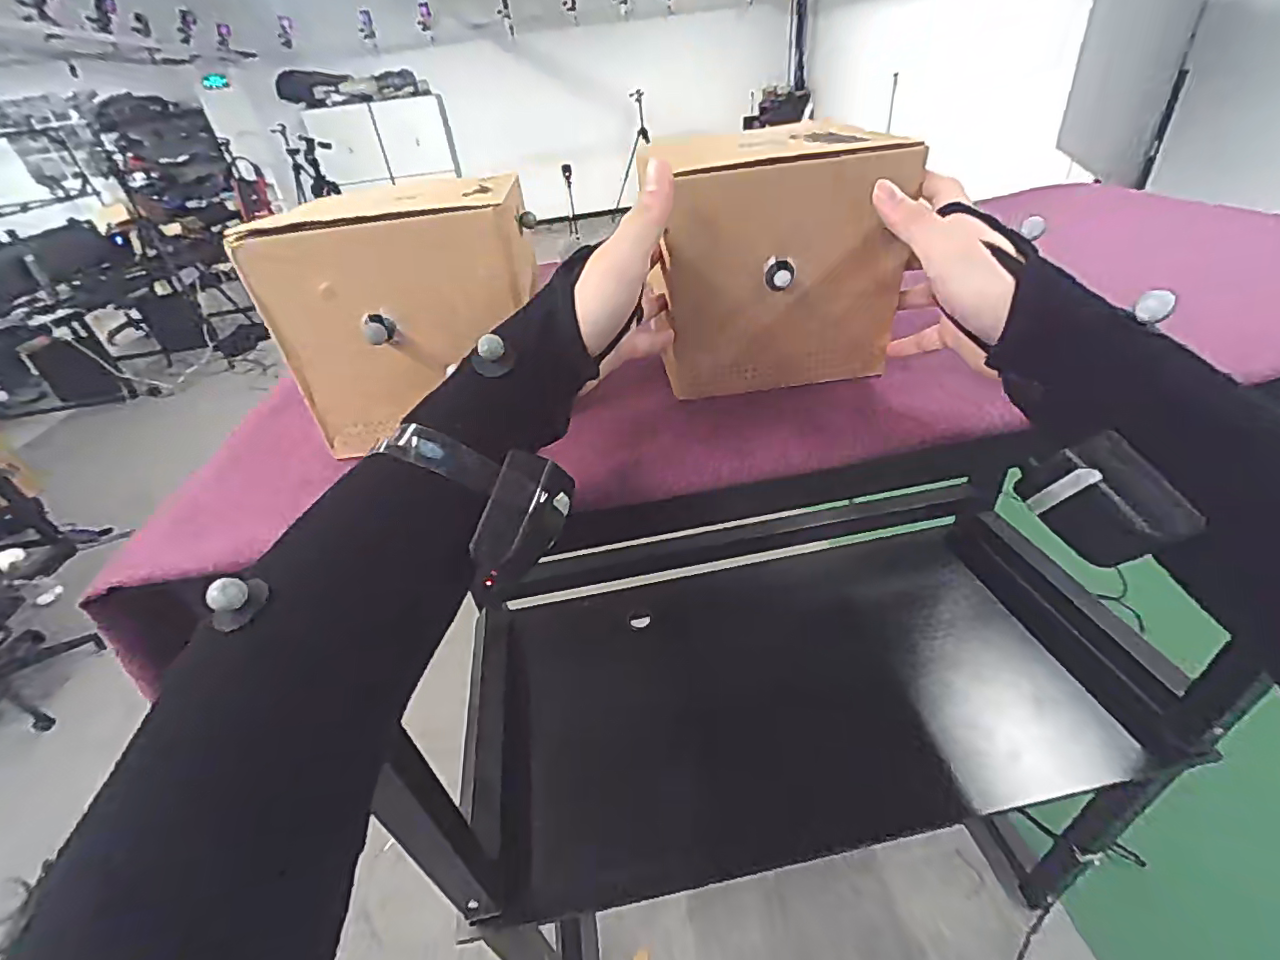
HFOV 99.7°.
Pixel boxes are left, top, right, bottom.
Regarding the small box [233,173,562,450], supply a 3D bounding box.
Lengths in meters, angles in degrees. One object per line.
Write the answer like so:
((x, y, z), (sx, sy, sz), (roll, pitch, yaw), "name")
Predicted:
((-0.170, -0.140, 0.449), (0.179, 0.176, 0.168), (-9, 36, -2), "small box")
